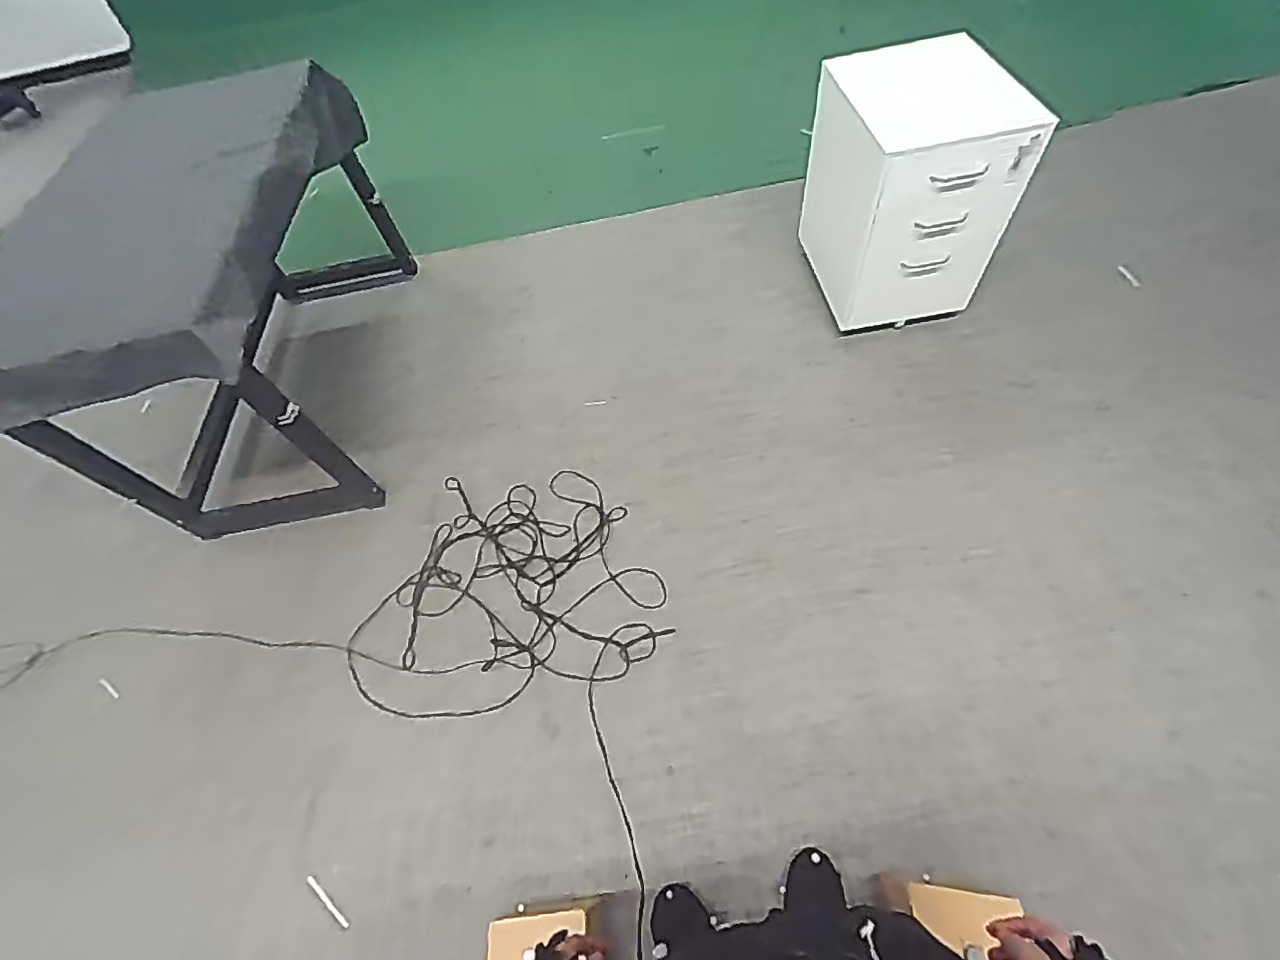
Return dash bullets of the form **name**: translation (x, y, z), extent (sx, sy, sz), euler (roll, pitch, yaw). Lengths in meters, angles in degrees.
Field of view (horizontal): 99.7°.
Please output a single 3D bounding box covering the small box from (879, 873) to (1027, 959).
- **small box**: translation (0.529, 0.791, 0.924), extent (0.179, 0.176, 0.168), euler (2, 60, 9)
